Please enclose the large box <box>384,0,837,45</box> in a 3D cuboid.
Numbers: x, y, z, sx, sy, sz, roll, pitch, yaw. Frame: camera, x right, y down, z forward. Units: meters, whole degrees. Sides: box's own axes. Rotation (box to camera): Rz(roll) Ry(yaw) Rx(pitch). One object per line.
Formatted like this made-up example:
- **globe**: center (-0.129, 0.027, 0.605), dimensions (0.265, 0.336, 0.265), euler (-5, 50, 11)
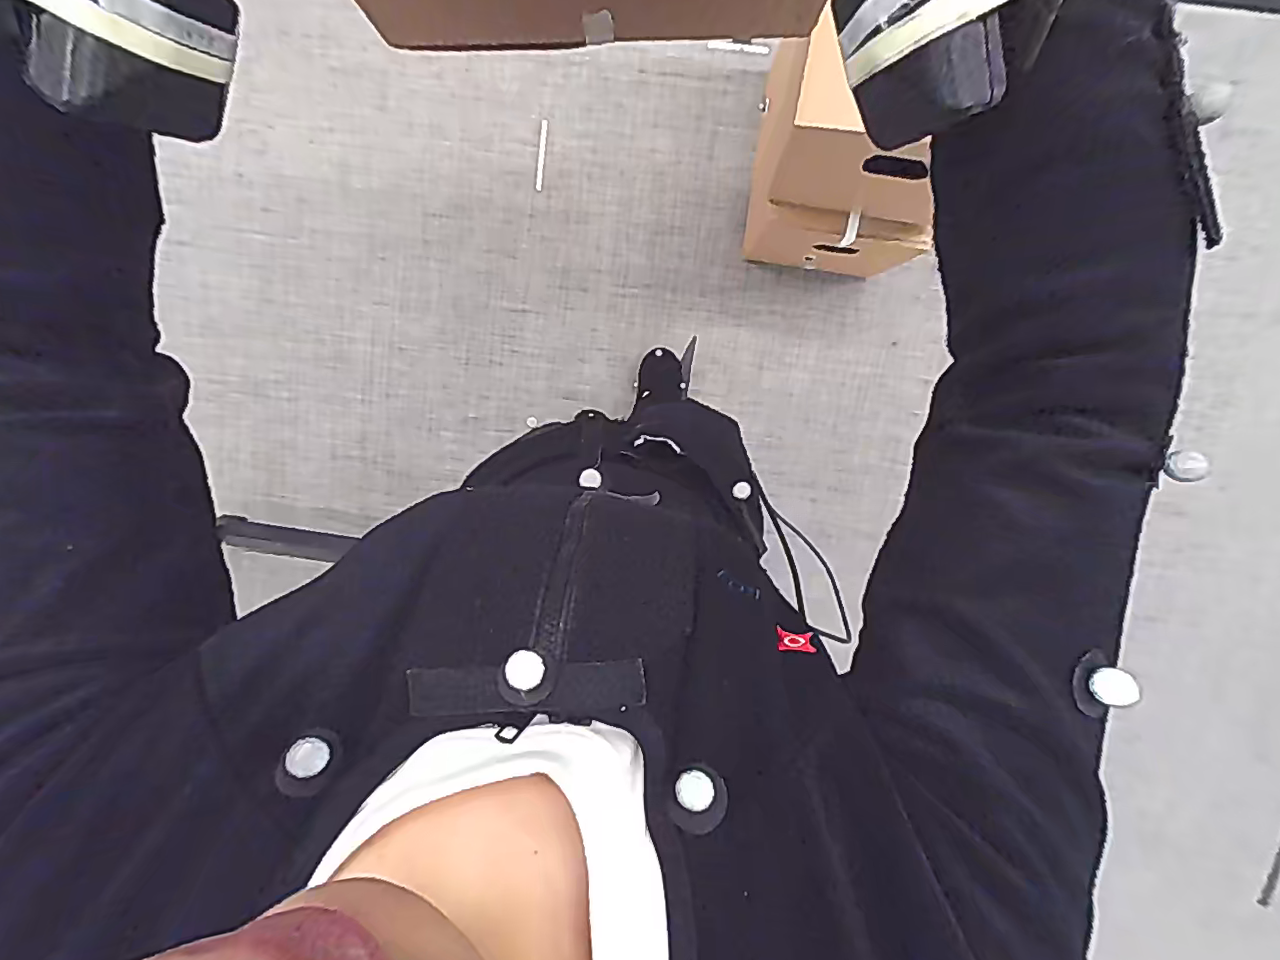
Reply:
- **large box**: center (-0.024, -0.487, 0.209), dimensions (0.320, 0.320, 0.408), euler (-2, 100, 2)
